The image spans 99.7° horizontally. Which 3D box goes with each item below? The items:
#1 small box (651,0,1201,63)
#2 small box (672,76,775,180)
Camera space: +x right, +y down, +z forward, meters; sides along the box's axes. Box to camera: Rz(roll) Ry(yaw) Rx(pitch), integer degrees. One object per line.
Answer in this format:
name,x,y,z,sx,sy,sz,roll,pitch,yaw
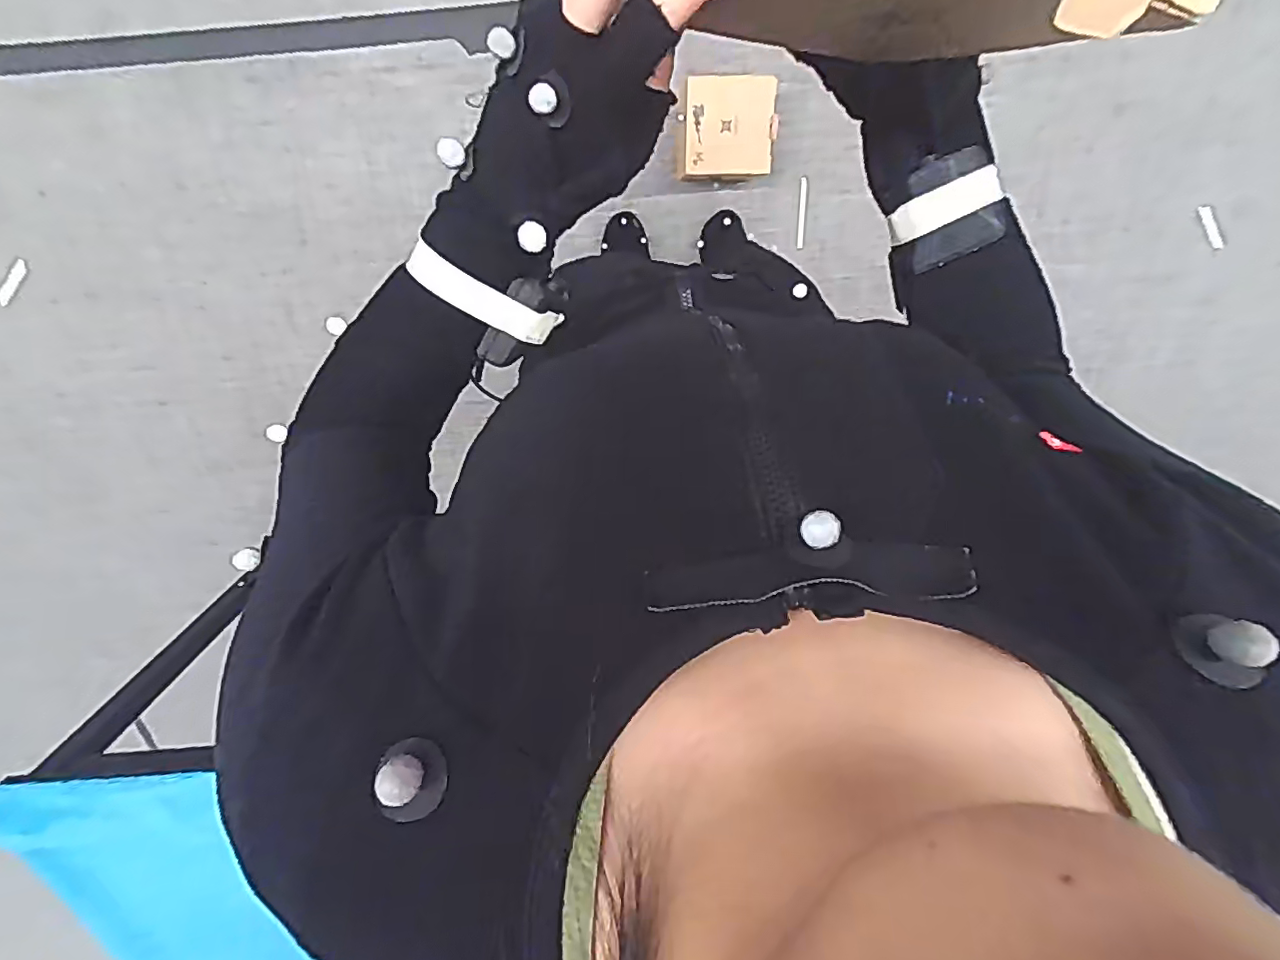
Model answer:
small box,0.118,-0.280,0.206,0.168,0.179,0.176,-13,125,-26
small box,0.167,-0.734,1.141,0.179,0.176,0.168,-1,116,-3
